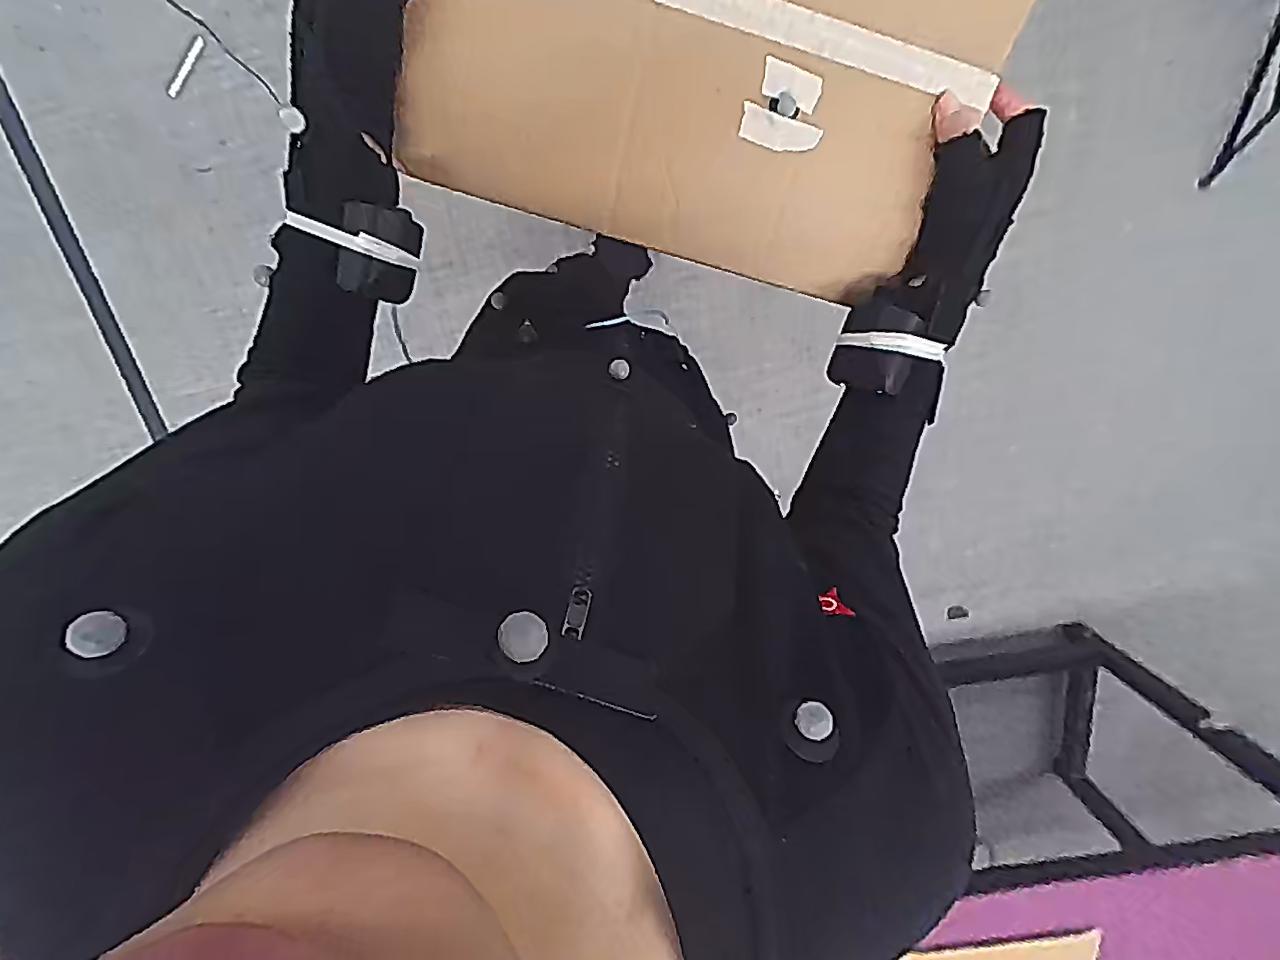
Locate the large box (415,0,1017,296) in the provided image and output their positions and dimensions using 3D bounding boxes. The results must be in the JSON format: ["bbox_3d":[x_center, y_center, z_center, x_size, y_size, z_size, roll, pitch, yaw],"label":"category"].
[{"bbox_3d":[0.051,-0.401,0.503,0.408,0.320,0.320,14,119,-7],"label":"large box"}]
